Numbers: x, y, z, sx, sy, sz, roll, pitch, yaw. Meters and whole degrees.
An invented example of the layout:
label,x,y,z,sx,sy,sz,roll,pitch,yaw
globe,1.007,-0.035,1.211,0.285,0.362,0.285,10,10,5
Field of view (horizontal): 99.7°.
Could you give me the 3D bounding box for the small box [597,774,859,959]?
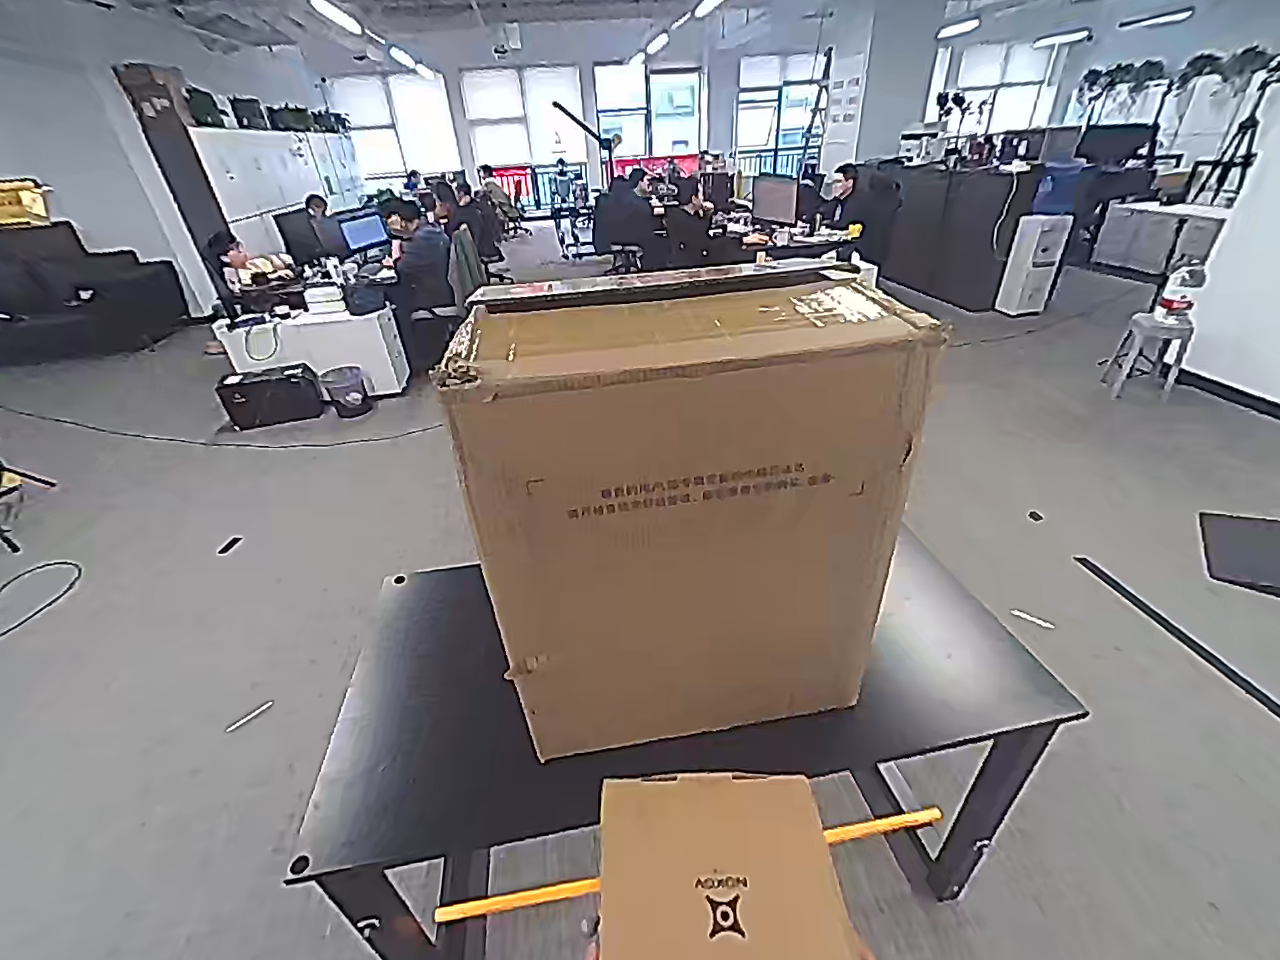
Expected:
label,x,y,z,sx,sy,sz,roll,pitch,yaw
small box,0.051,0.348,0.400,0.168,0.176,0.179,1,34,-2
